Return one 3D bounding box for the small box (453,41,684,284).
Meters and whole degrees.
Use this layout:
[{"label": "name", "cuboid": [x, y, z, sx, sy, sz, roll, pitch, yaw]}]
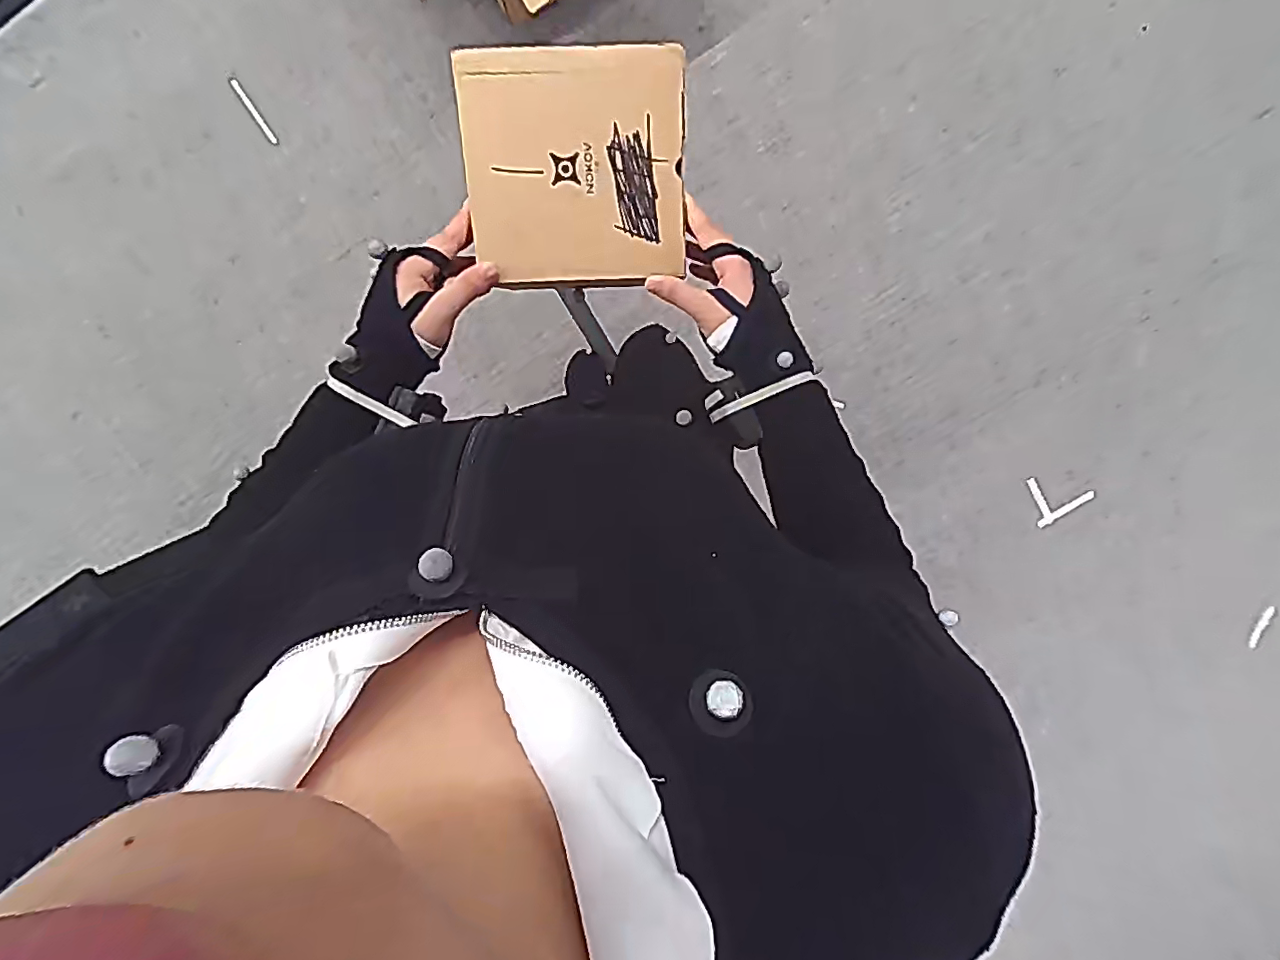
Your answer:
[{"label": "small box", "cuboid": [-0.056, -0.275, 0.505, 0.179, 0.176, 0.168, -2, 108, -2]}]
